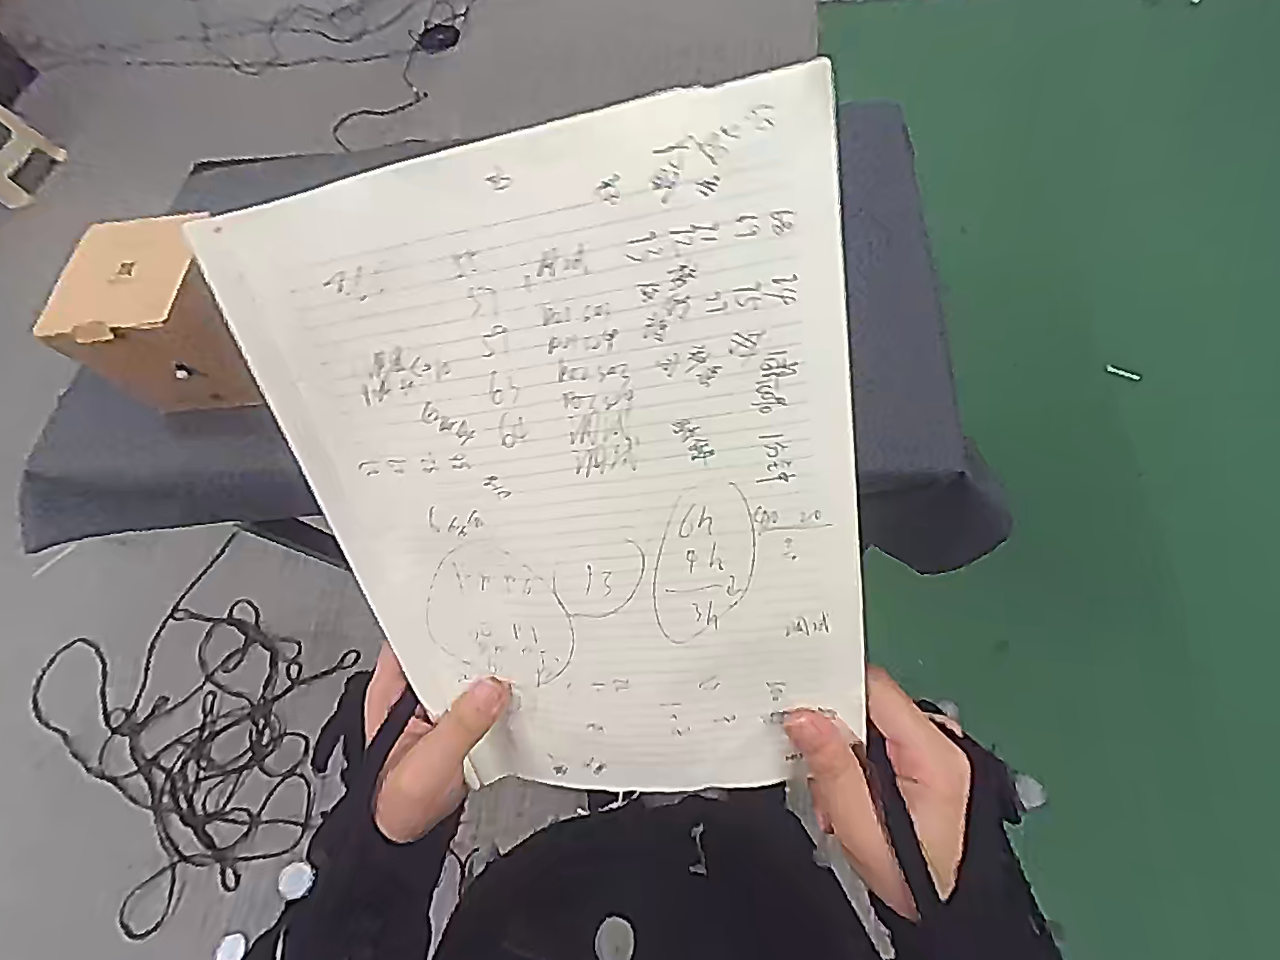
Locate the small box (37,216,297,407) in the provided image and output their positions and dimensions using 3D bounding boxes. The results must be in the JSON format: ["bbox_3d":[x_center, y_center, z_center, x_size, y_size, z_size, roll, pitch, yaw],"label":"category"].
[{"bbox_3d":[-0.591,-0.207,0.707,0.168,0.176,0.179,-4,65,5],"label":"small box"}]
